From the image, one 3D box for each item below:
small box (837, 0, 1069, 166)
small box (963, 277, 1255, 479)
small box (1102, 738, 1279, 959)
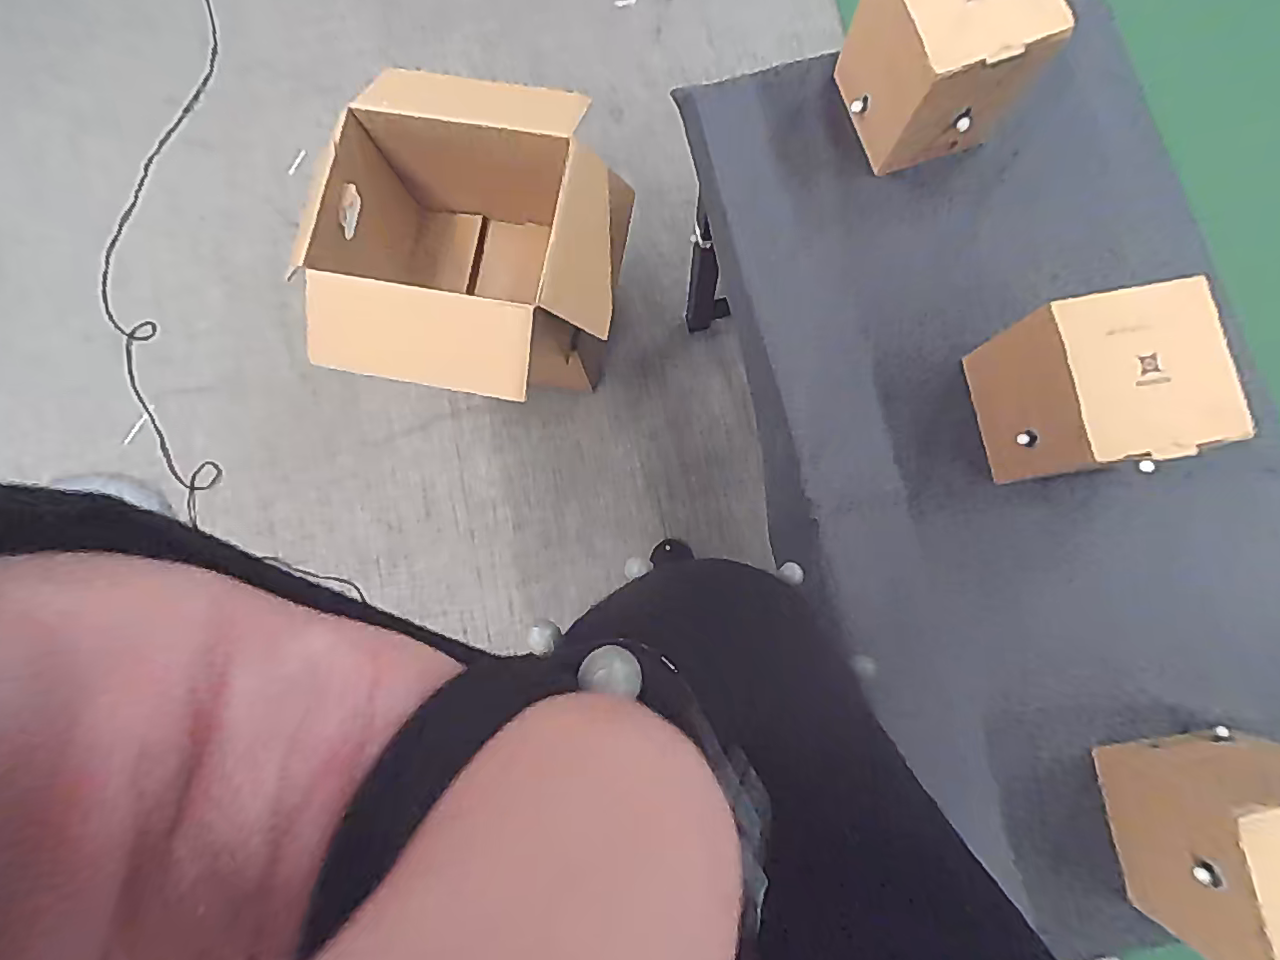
[{"bbox_3d":[0.379,-0.539,0.690,0.168,0.176,0.179,-18,83,0],"label":"small box"},{"bbox_3d":[0.517,-0.102,0.627,0.168,0.176,0.179,-10,81,0],"label":"small box"},{"bbox_3d":[0.629,0.381,0.551,0.168,0.176,0.179,-9,82,2],"label":"small box"}]
